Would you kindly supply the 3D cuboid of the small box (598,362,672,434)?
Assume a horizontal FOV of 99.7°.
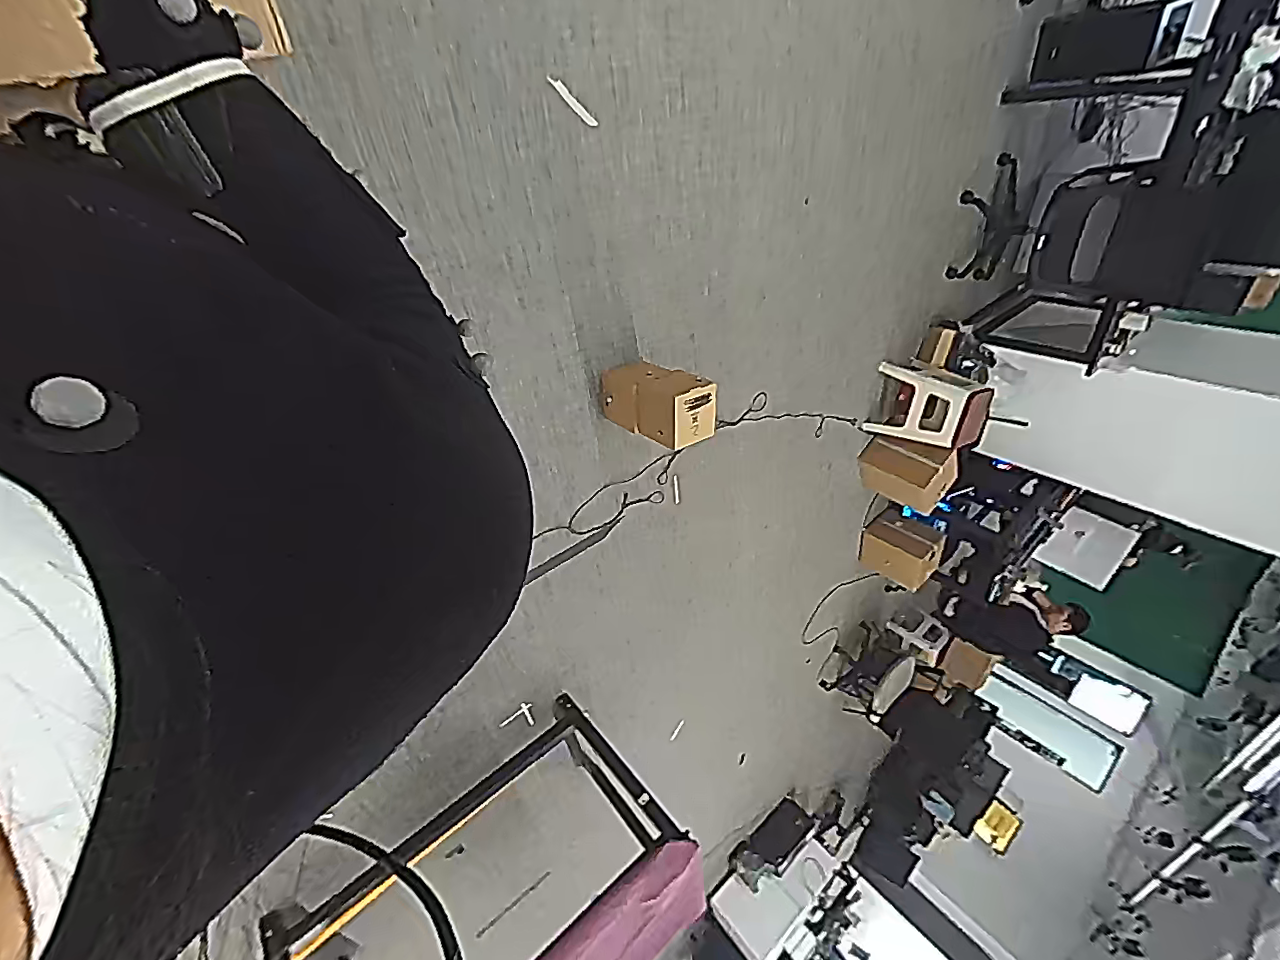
[{"bbox_3d":[-0.017,-0.271,1.749,0.179,0.176,0.168,-23,126,-32],"label":"small box"}]
